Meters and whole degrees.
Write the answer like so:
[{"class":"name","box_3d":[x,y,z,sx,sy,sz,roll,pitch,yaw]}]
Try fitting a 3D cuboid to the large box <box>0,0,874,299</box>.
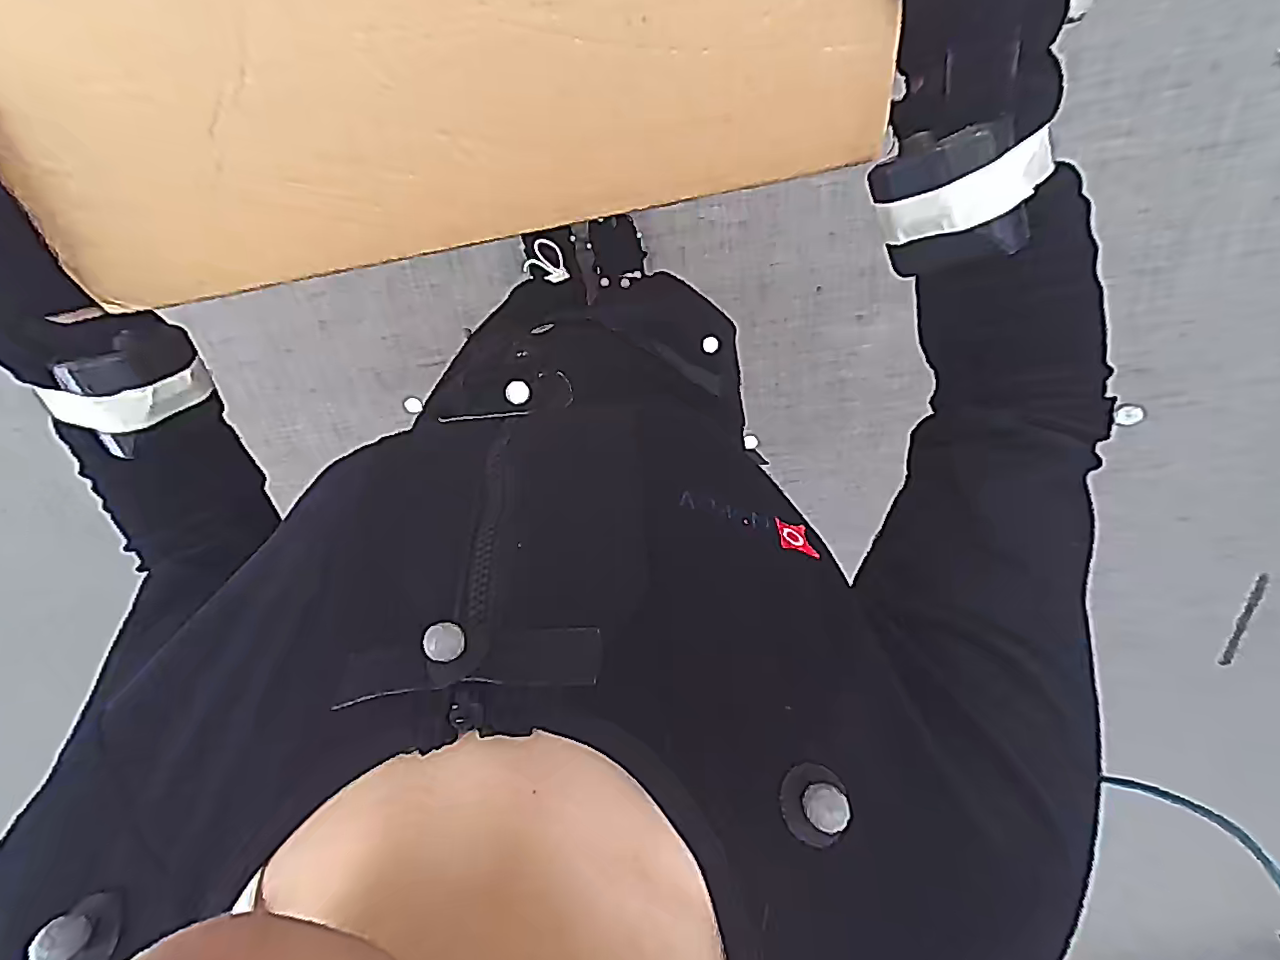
[{"class":"large box","box_3d":[-0.120,-0.344,0.283,0.408,0.320,0.320,-10,133,3]}]
